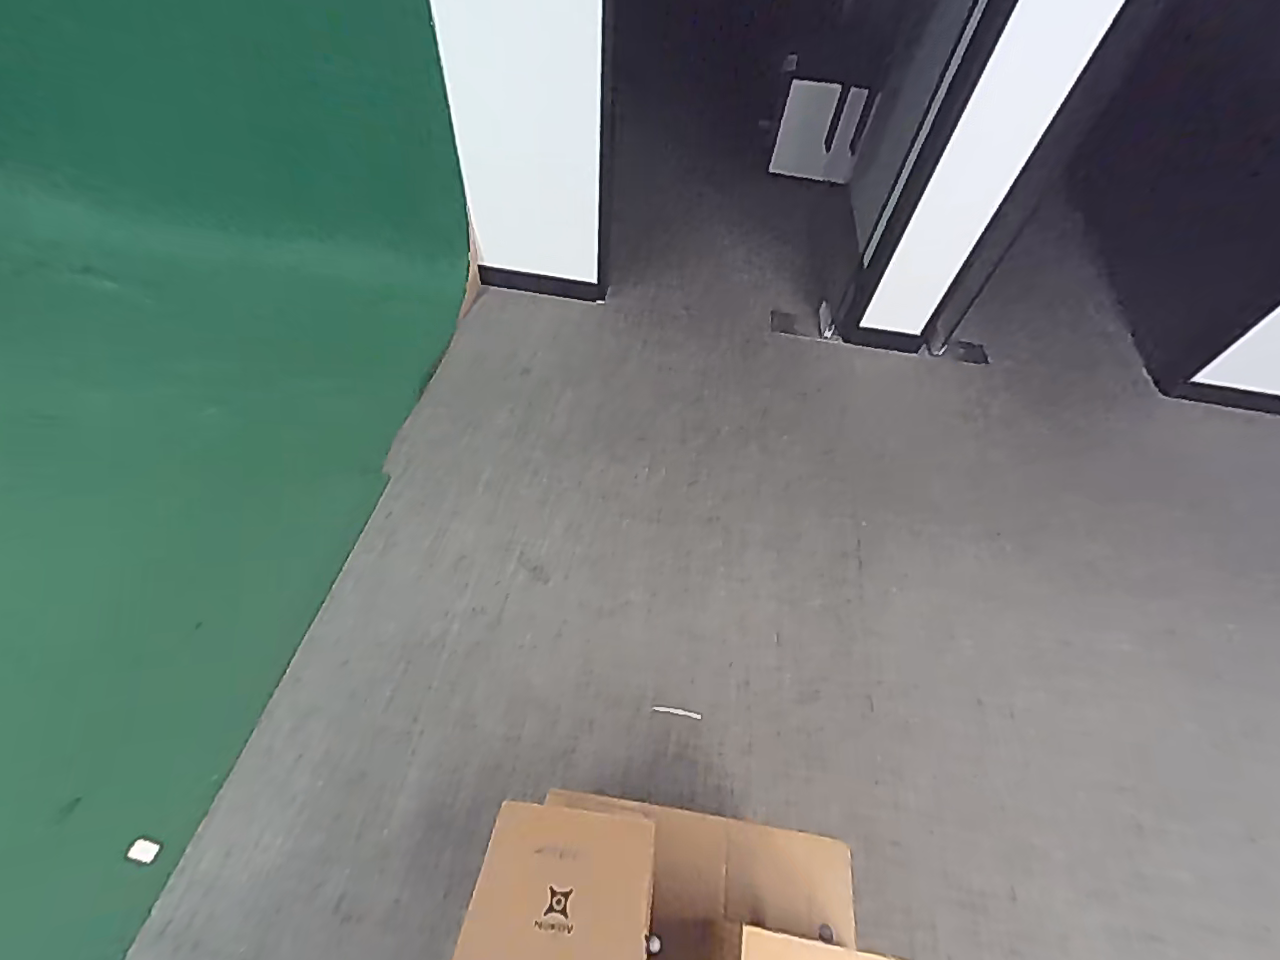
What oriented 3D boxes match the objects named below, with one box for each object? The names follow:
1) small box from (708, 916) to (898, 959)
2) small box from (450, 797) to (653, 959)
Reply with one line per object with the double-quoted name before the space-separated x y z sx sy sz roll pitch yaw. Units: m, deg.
"small box" 0.155 0.559 0.533 0.168 0.176 0.179 11 55 4
"small box" -0.077 0.462 0.548 0.168 0.176 0.179 5 35 6
